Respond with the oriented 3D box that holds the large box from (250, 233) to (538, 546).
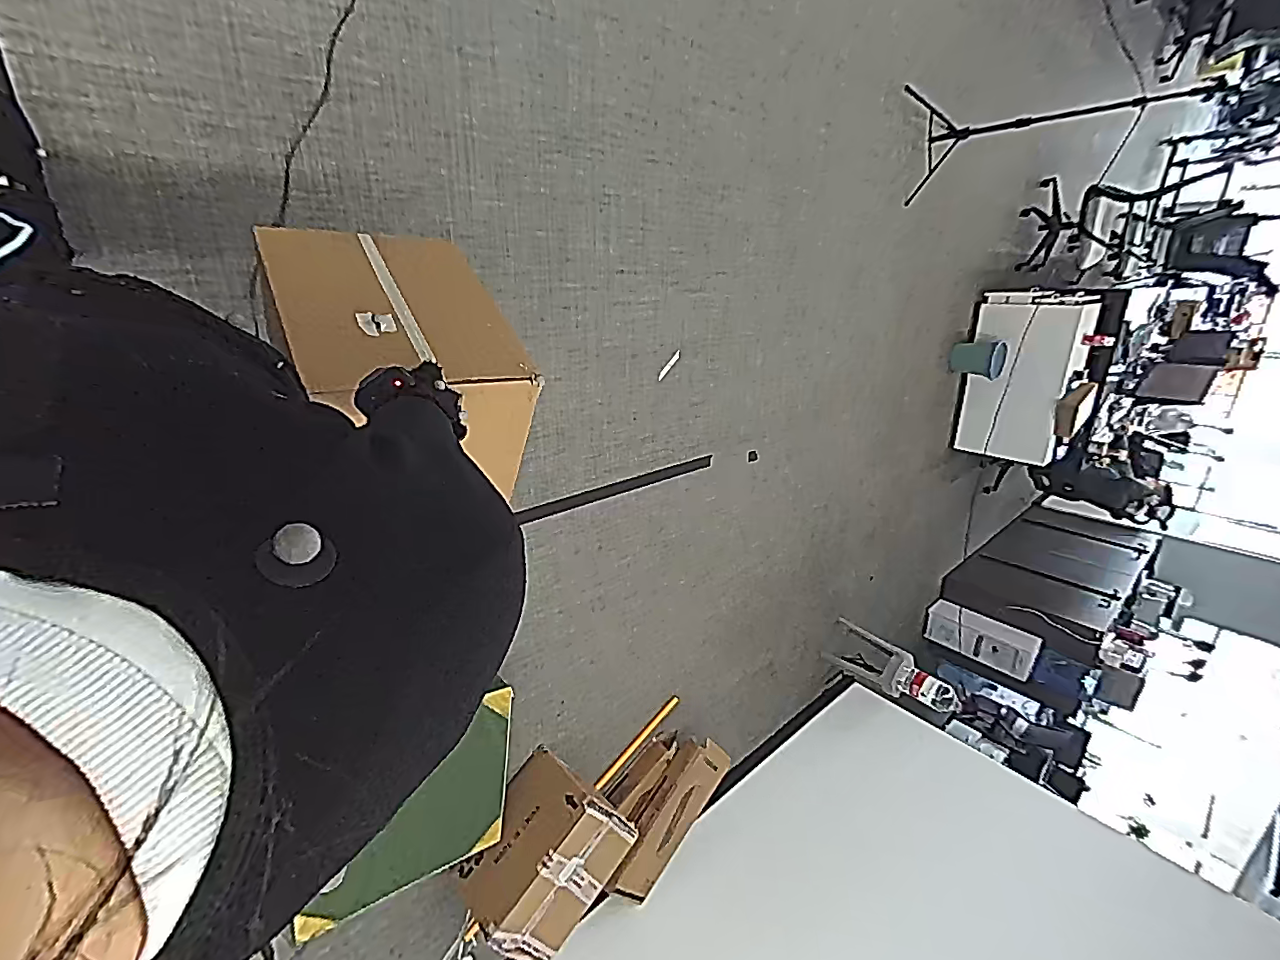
[{"bbox_3d":[-0.427,-0.161,0.921,0.320,0.408,0.320,-13,145,-36],"label":"large box"}]
